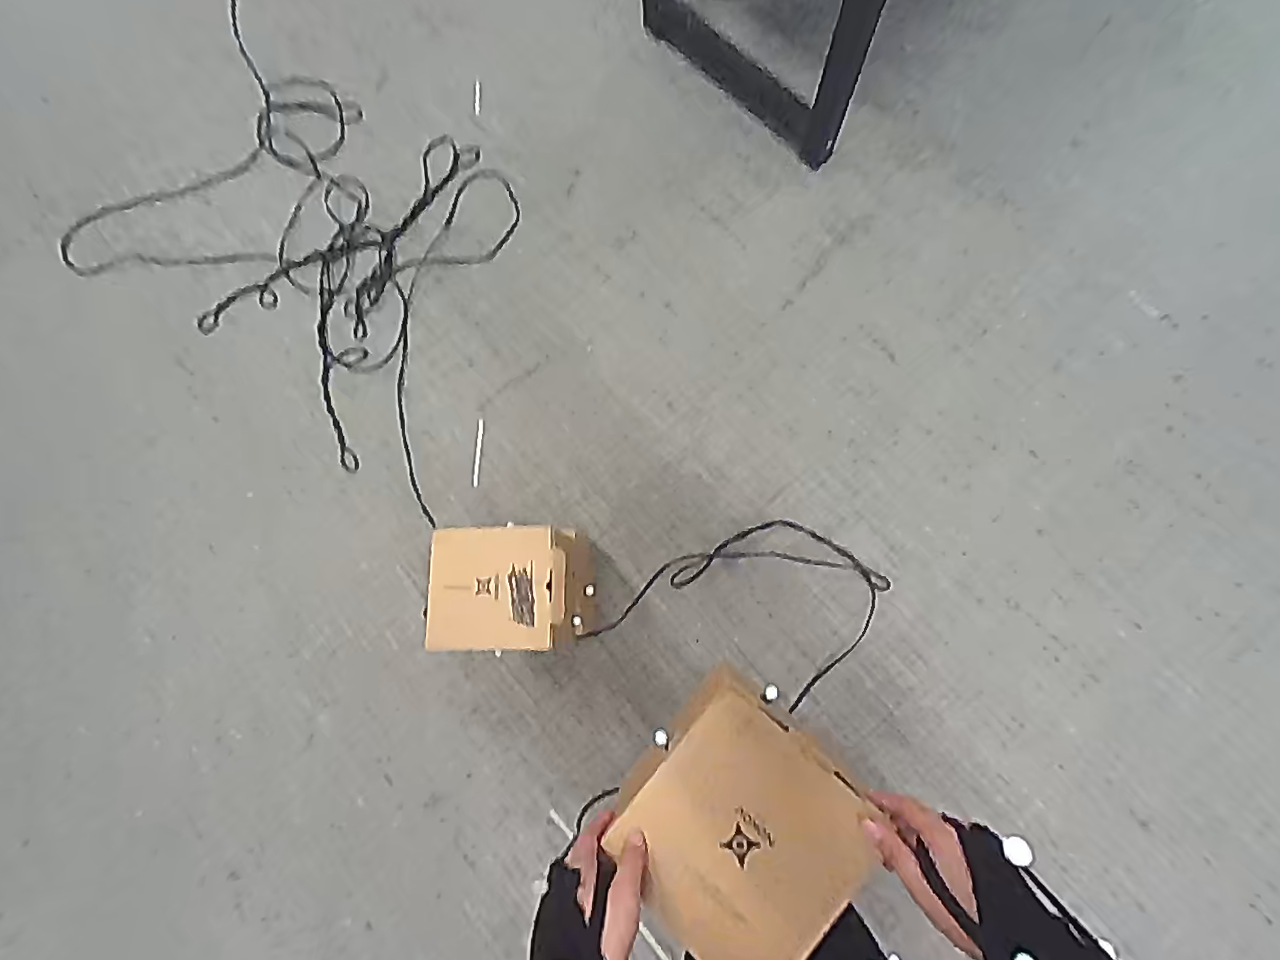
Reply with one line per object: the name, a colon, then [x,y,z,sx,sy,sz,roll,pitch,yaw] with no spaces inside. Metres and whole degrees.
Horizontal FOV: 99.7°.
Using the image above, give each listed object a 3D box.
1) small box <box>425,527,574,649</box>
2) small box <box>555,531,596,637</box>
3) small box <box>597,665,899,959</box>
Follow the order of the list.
small box: [-0.199,0.162,0.817,0.179,0.176,0.168,-2,77,4]
small box: [-0.177,0.193,0.978,0.168,0.176,0.179,-7,77,3]
small box: [0.089,0.291,0.490,0.168,0.176,0.179,39,85,14]
